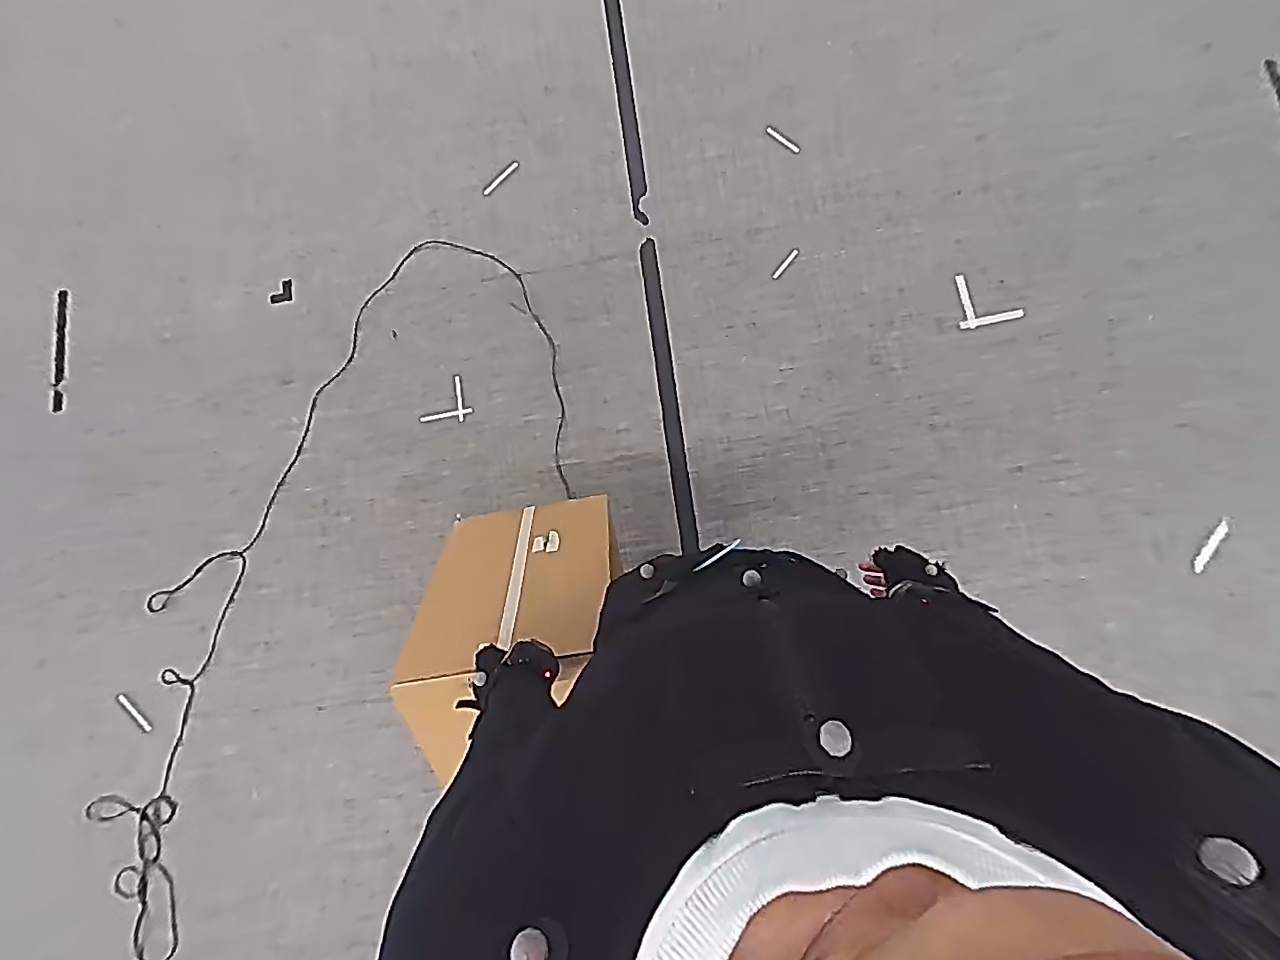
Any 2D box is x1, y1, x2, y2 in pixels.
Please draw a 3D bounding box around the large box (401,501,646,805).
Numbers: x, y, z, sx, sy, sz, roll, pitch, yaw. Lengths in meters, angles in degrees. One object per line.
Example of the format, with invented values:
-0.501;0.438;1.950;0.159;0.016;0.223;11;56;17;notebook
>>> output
-0.177;0.290;0.985;0.320;0.408;0.320;-8;119;0;large box
